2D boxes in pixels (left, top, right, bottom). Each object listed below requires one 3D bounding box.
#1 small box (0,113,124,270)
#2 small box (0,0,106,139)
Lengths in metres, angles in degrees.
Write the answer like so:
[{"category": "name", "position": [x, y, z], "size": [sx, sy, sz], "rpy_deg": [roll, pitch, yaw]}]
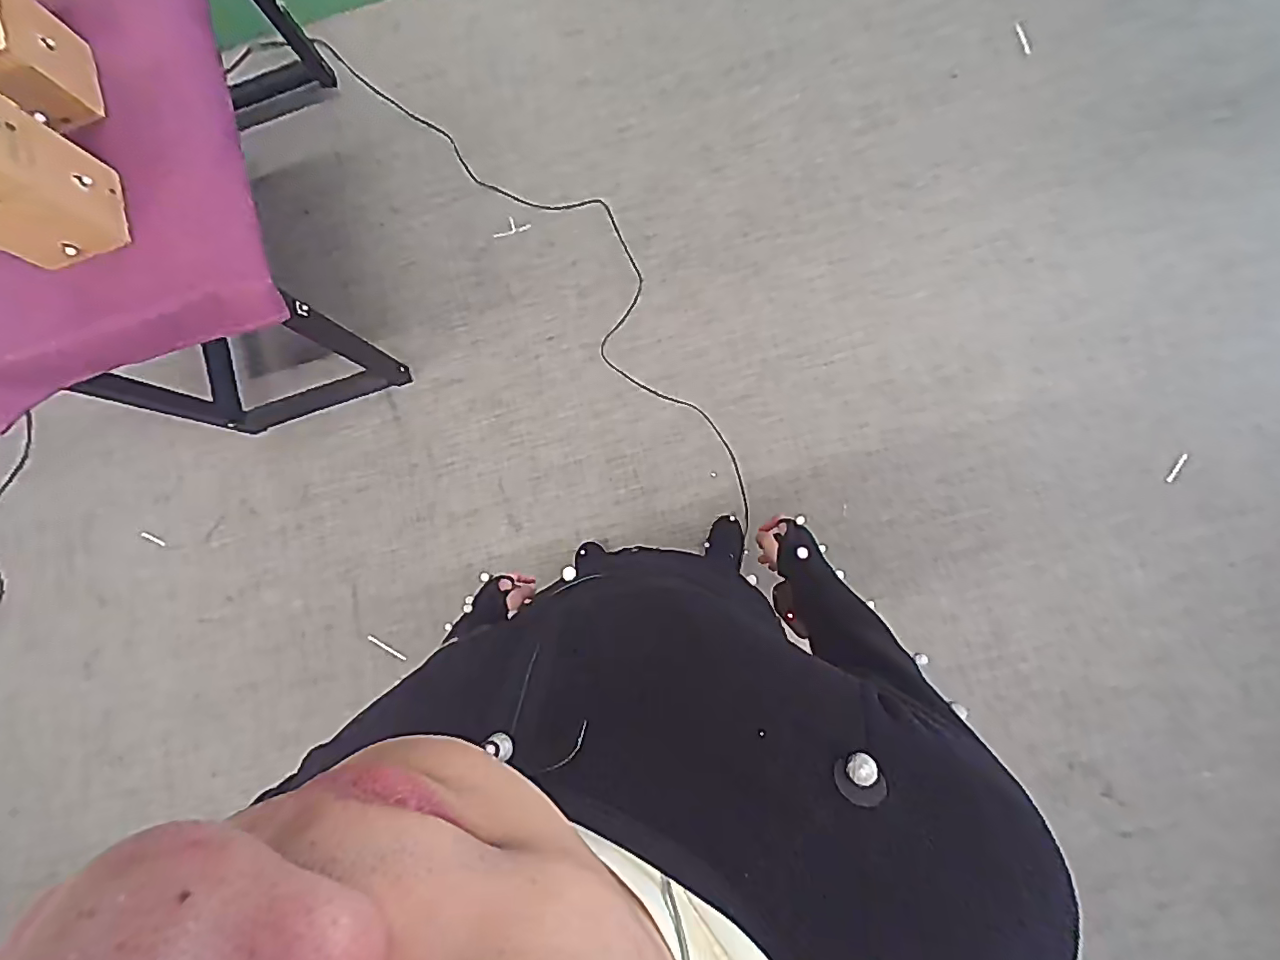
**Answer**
[{"category": "small box", "position": [-1.112, -0.522, 1.000], "size": [0.179, 0.176, 0.168], "rpy_deg": [-18, 82, 2]}, {"category": "small box", "position": [-1.195, -0.799, 1.037], "size": [0.168, 0.176, 0.179], "rpy_deg": [-18, 84, 3]}]
